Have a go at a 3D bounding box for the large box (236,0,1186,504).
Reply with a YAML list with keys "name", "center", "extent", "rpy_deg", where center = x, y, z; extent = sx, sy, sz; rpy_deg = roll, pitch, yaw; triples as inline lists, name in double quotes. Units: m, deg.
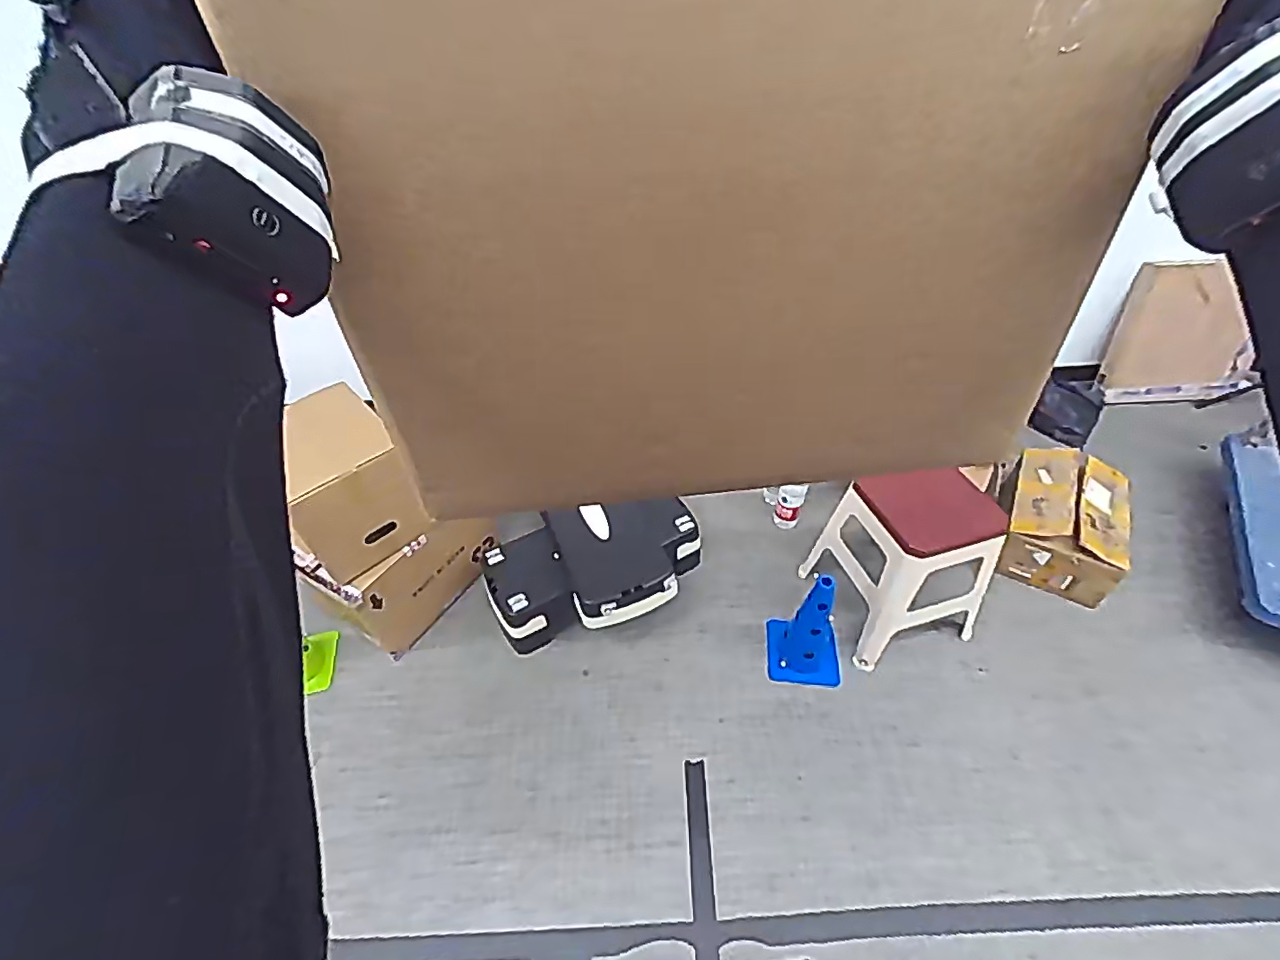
- name: "large box"
  center: [0.031, -0.209, 0.394]
  extent: [0.408, 0.320, 0.320]
  rpy_deg: [-6, 40, -2]
